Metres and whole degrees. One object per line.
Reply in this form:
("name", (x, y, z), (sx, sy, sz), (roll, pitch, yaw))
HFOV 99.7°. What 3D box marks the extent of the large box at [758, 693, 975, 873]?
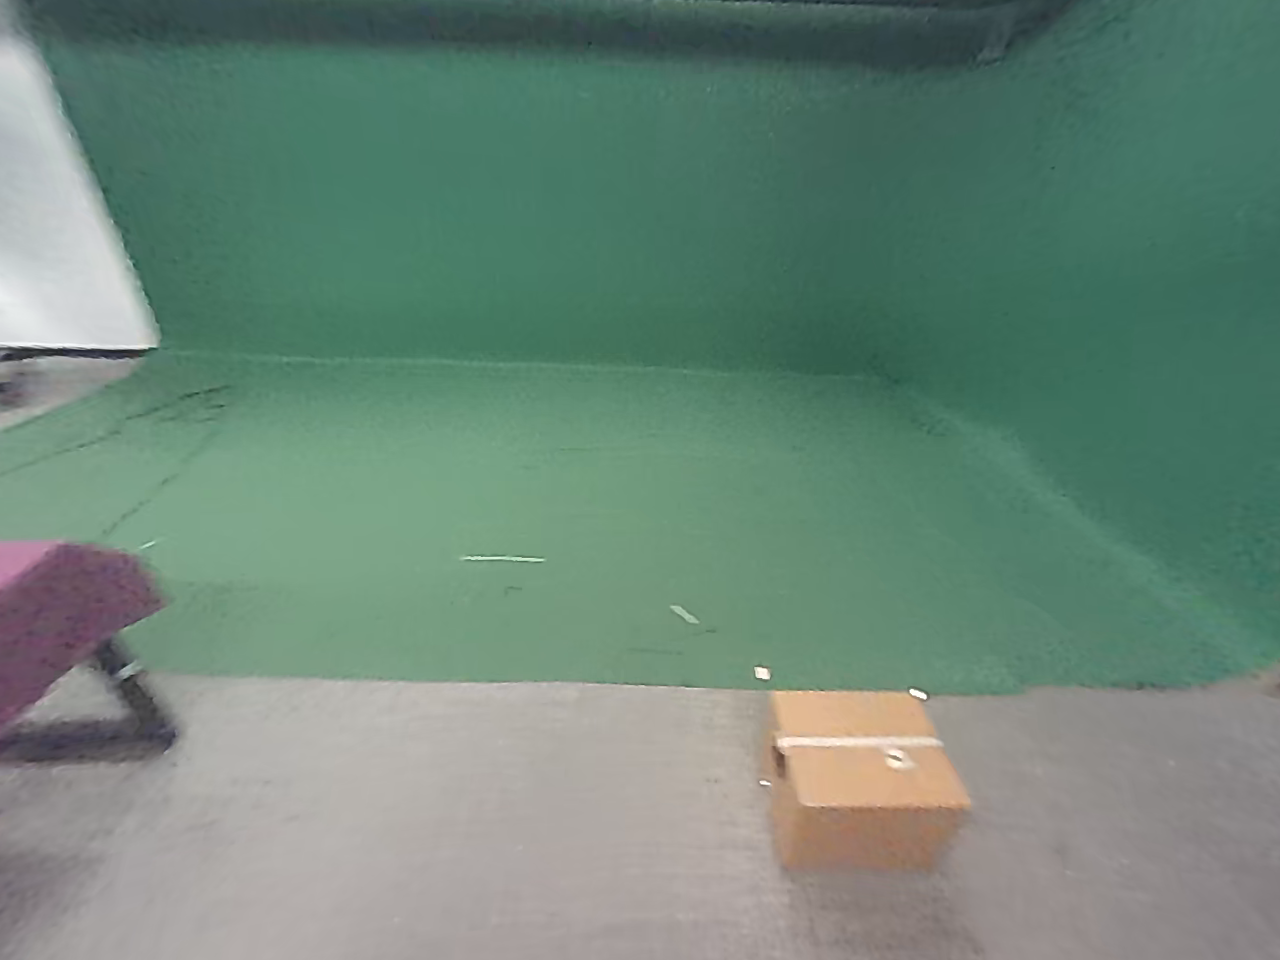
("large box", (0.561, 0.794, 1.430), (0.408, 0.320, 0.320), (2, 31, -2))
